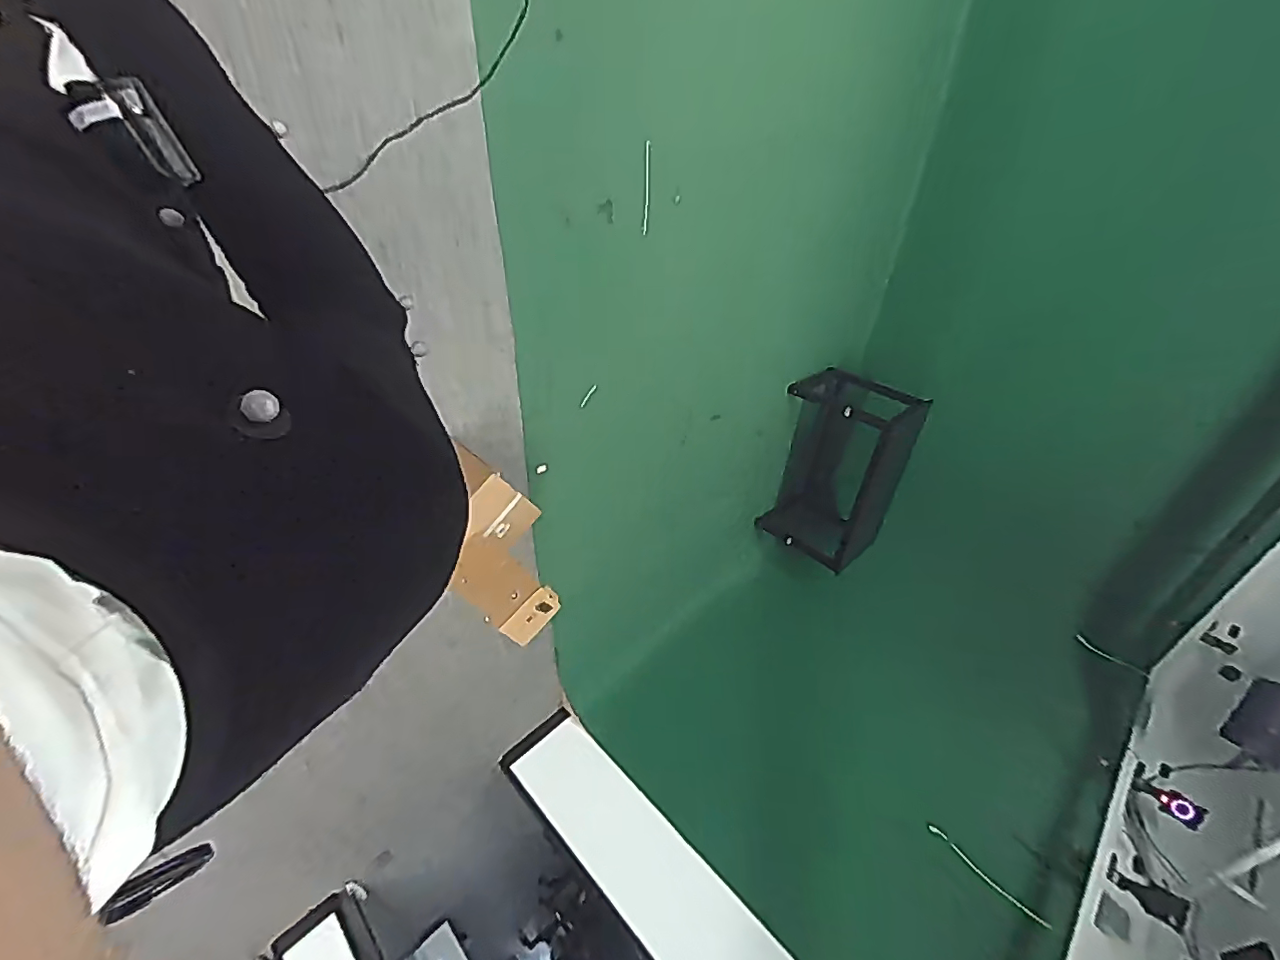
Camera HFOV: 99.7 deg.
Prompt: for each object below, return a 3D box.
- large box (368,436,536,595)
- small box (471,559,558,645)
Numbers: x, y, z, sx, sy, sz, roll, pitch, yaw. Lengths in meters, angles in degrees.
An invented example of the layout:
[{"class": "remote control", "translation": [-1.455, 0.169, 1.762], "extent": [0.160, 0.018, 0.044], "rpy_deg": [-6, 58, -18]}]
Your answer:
[{"class": "large box", "translation": [-0.660, 0.125, 1.913], "extent": [0.408, 0.320, 0.320], "rpy_deg": [-52, 147, -10]}, {"class": "small box", "translation": [-0.397, 0.382, 1.712], "extent": [0.179, 0.176, 0.168], "rpy_deg": [-47, 145, -15]}]
